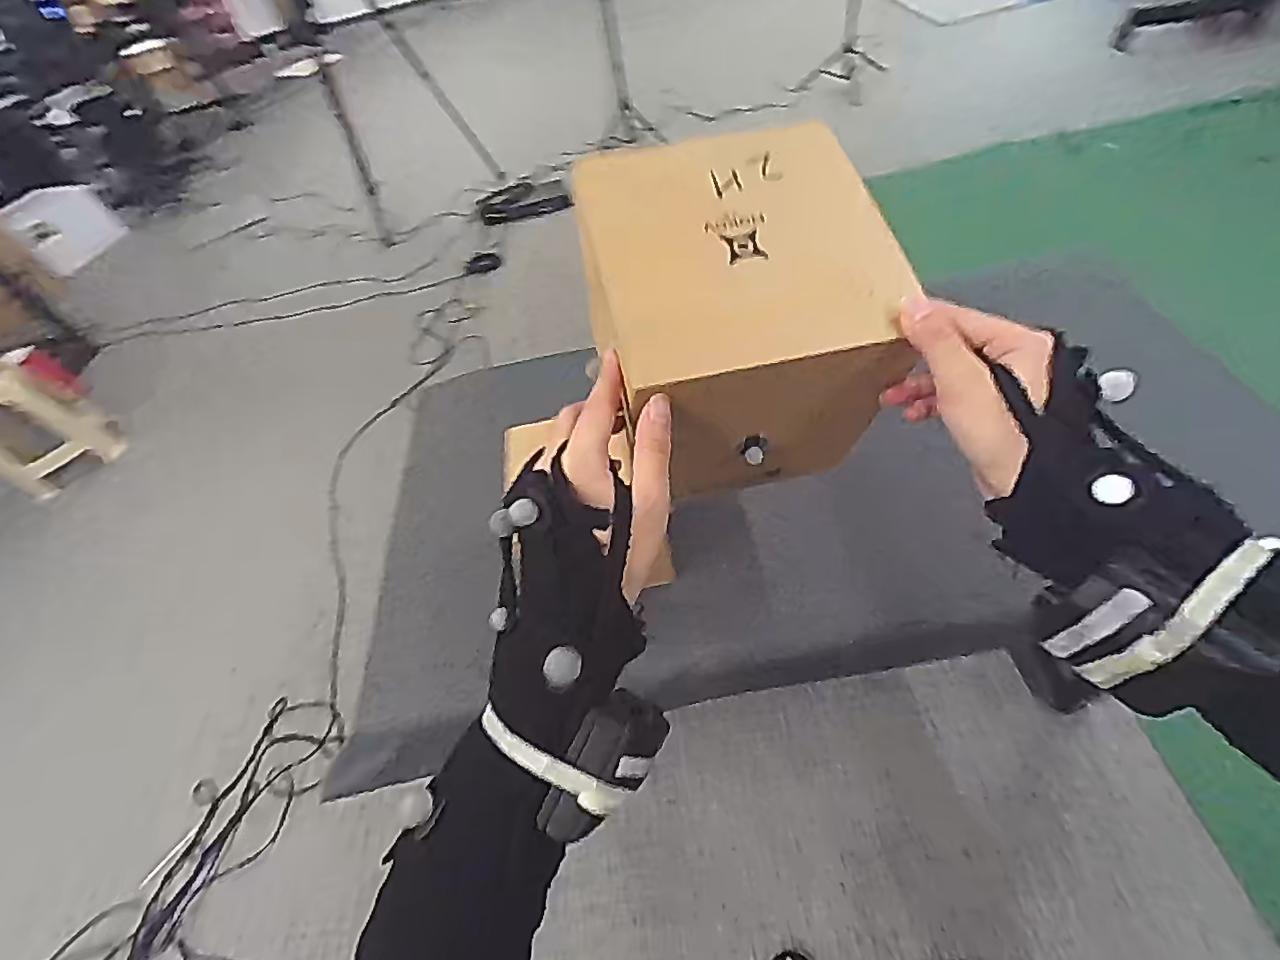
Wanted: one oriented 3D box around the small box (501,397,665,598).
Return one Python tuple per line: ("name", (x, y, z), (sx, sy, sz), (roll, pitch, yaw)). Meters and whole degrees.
("small box", (-0.067, 0.026, 0.690), (0.168, 0.176, 0.179), (-12, 51, 3))
